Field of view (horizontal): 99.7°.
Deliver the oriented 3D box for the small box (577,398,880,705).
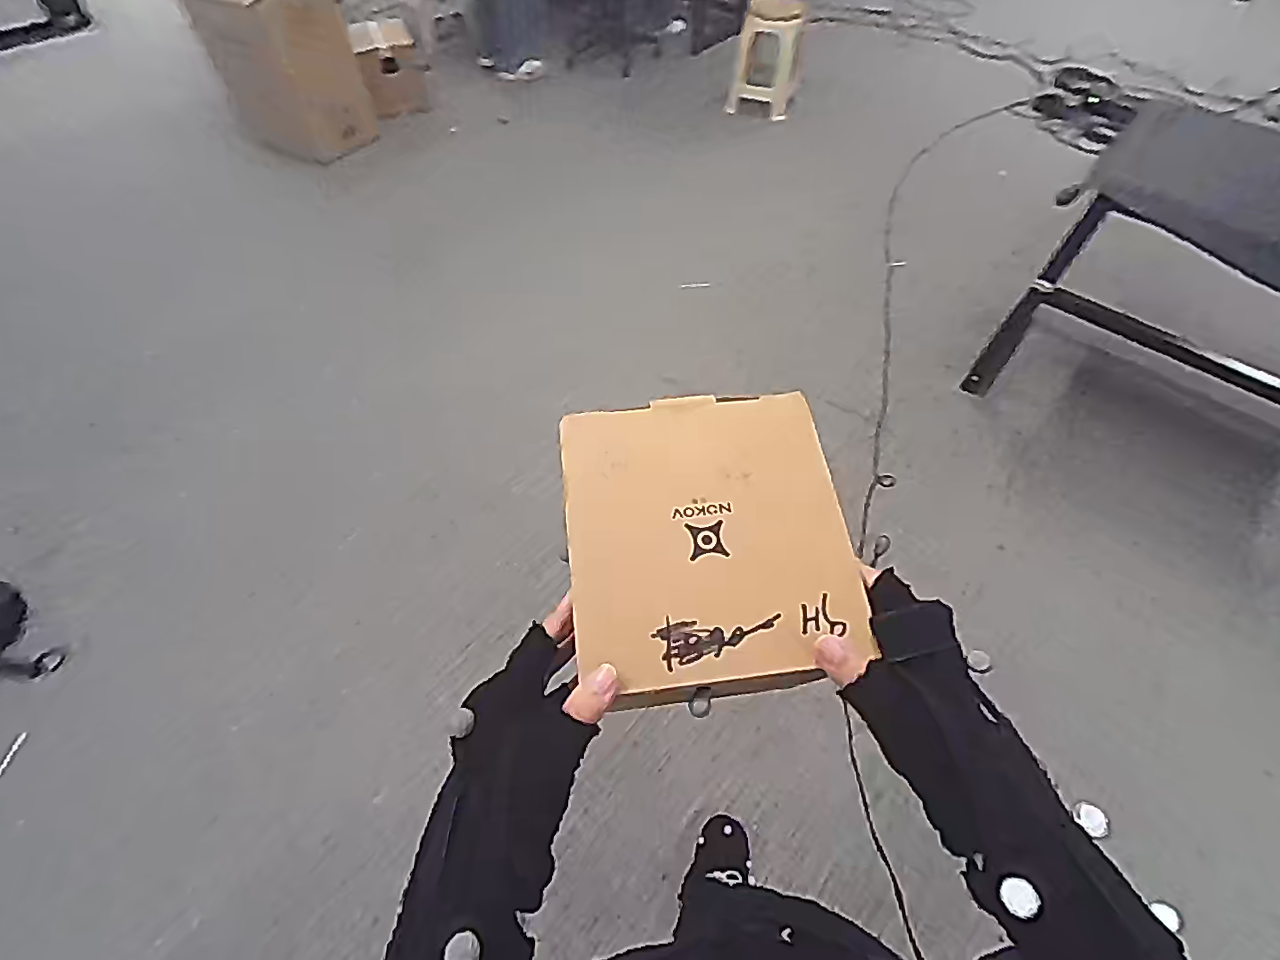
[{"bbox_3d":[0.044,0.062,0.403,0.168,0.176,0.179,-5,64,-2],"label":"small box"}]
